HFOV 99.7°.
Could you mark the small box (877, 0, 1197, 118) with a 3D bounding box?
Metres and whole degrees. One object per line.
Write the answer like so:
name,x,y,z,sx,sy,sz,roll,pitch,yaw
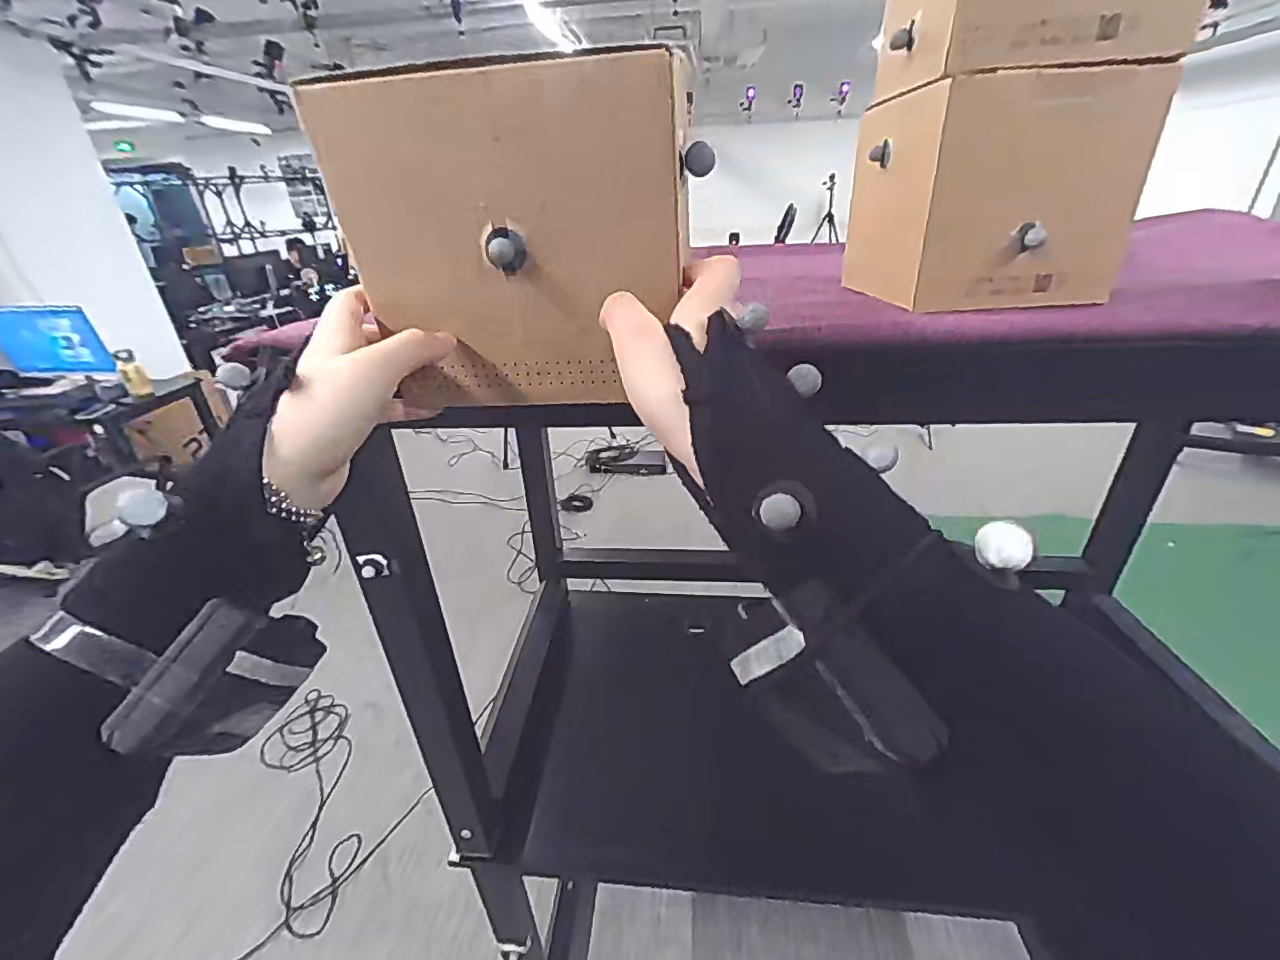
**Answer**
small box,0.305,-0.398,0.423,0.168,0.176,0.179,0,28,4
